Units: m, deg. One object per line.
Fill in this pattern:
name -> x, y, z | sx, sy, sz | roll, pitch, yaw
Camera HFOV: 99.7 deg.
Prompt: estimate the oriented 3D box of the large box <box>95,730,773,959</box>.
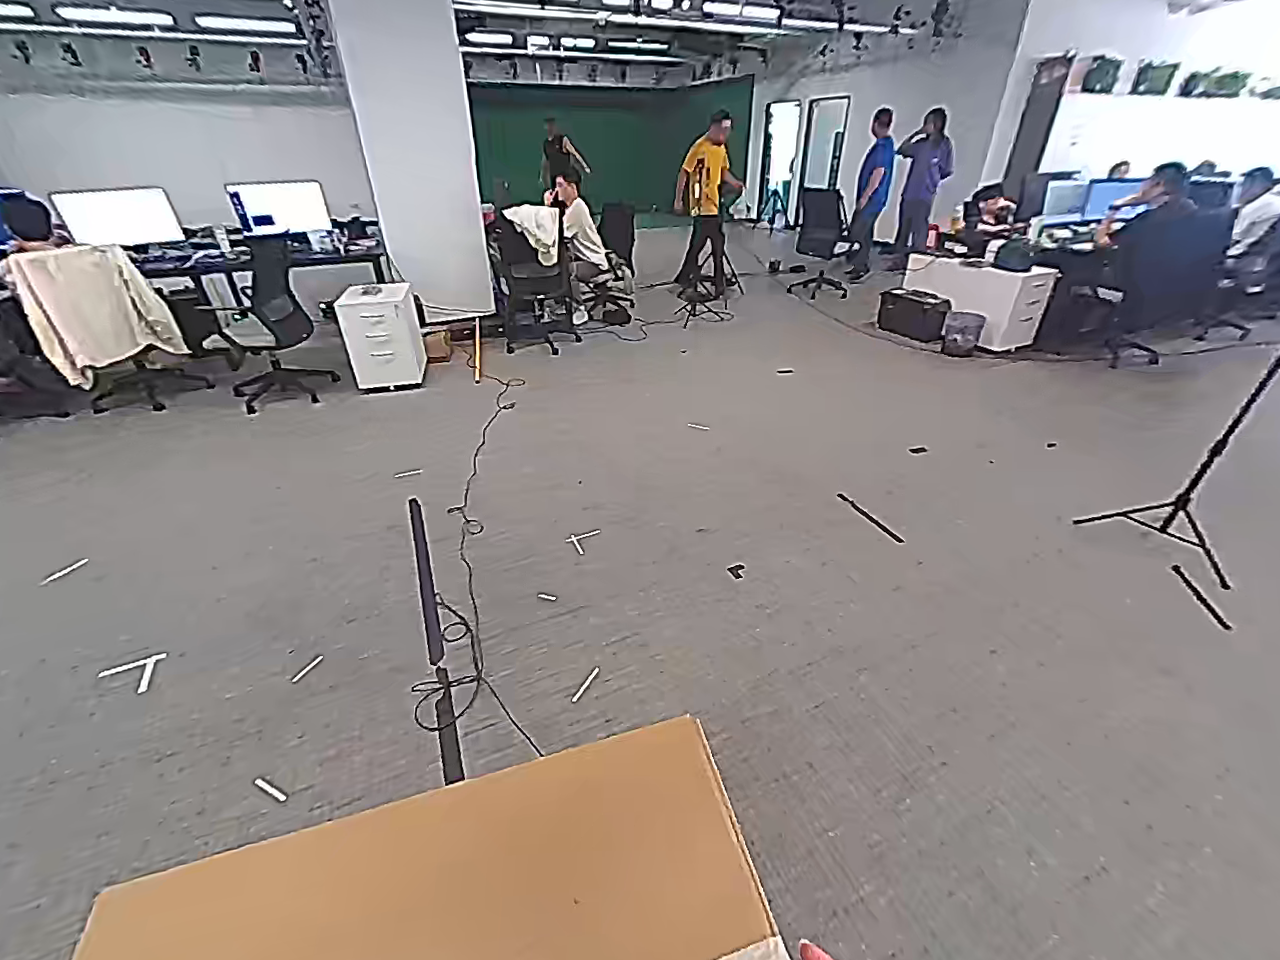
large box -> -0.105, 0.445, 0.380 | 0.408, 0.320, 0.320 | -11, 41, -13
